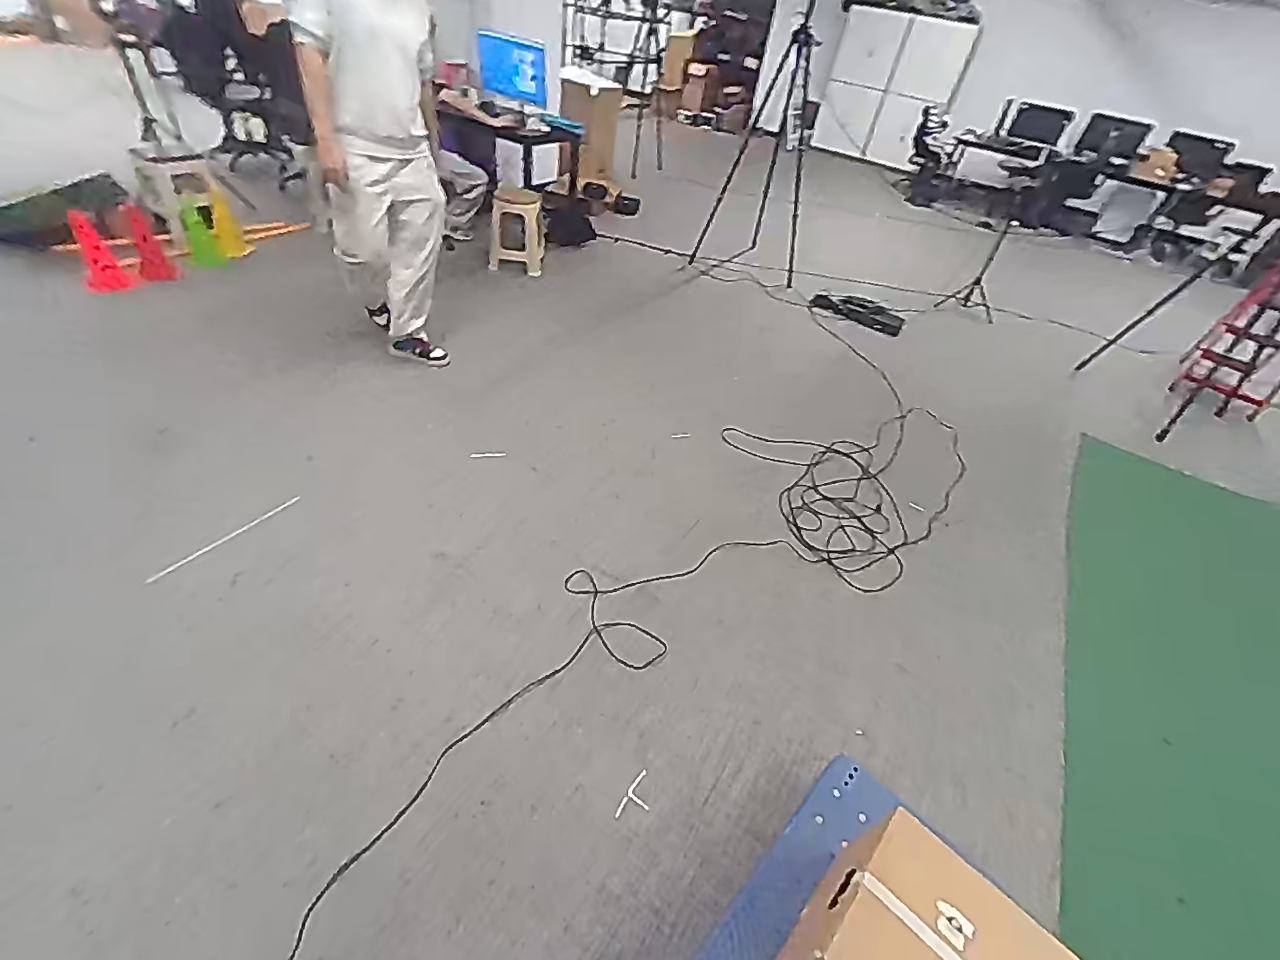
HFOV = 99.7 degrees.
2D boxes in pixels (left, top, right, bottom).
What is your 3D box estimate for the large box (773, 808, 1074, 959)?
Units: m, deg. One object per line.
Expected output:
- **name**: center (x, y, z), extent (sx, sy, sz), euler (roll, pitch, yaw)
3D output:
- **large box**: center (0.485, 0.876, 0.910), extent (0.408, 0.320, 0.320), euler (36, 47, 28)
